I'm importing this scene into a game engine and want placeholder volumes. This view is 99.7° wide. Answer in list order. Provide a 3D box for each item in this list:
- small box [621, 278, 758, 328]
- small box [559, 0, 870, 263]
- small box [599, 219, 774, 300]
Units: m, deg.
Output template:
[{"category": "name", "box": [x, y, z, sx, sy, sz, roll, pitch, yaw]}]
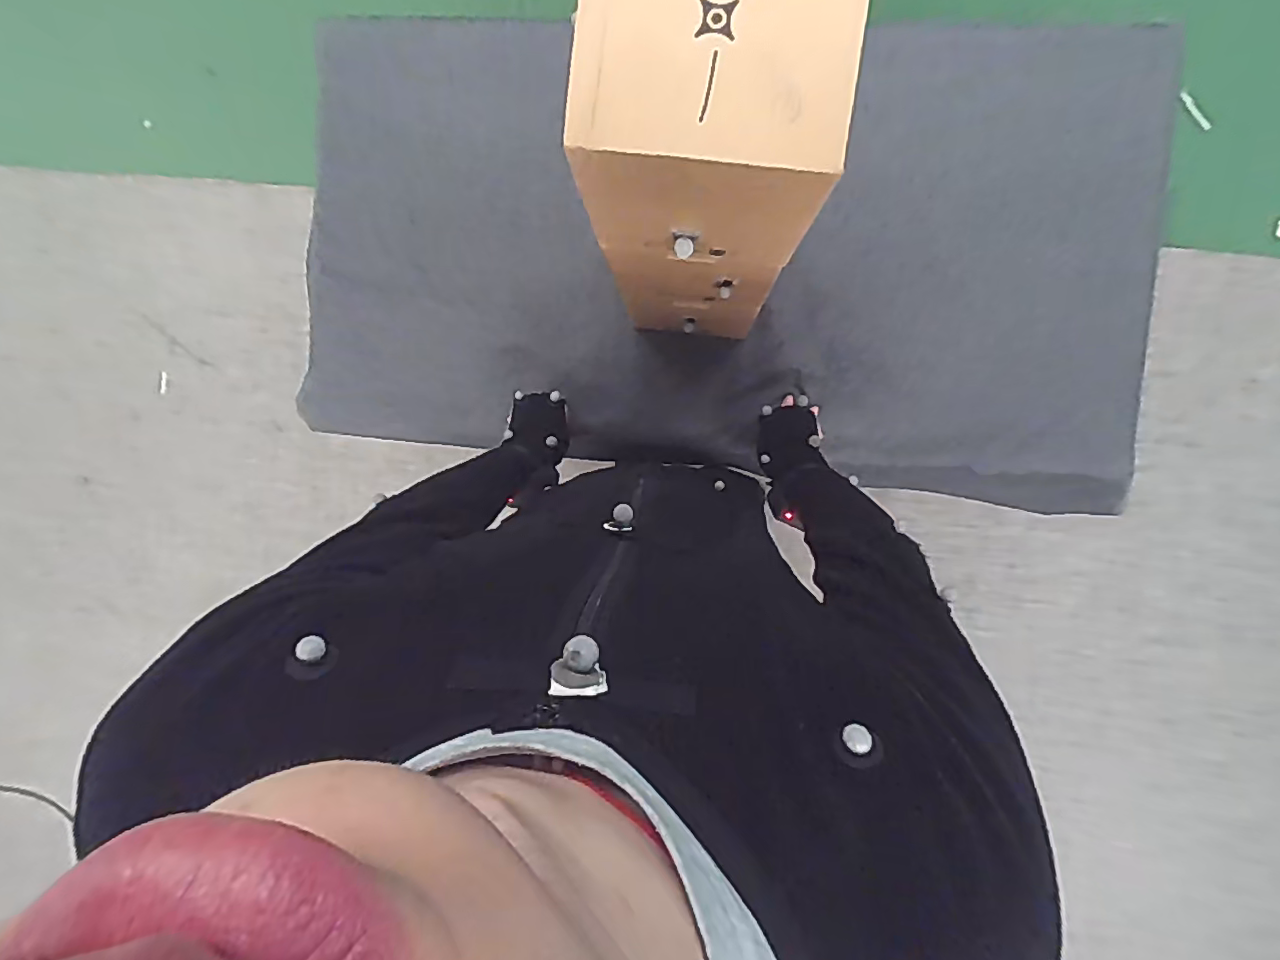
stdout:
[{"category": "small box", "box": [0.076, -0.305, 0.705, 0.168, 0.176, 0.179, 8, 95, 4]}, {"category": "small box", "box": [0.050, -0.276, 0.381, 0.168, 0.176, 0.179, 8, 96, 3]}, {"category": "small box", "box": [0.059, -0.293, 0.544, 0.168, 0.176, 0.179, 6, 94, 3]}]
